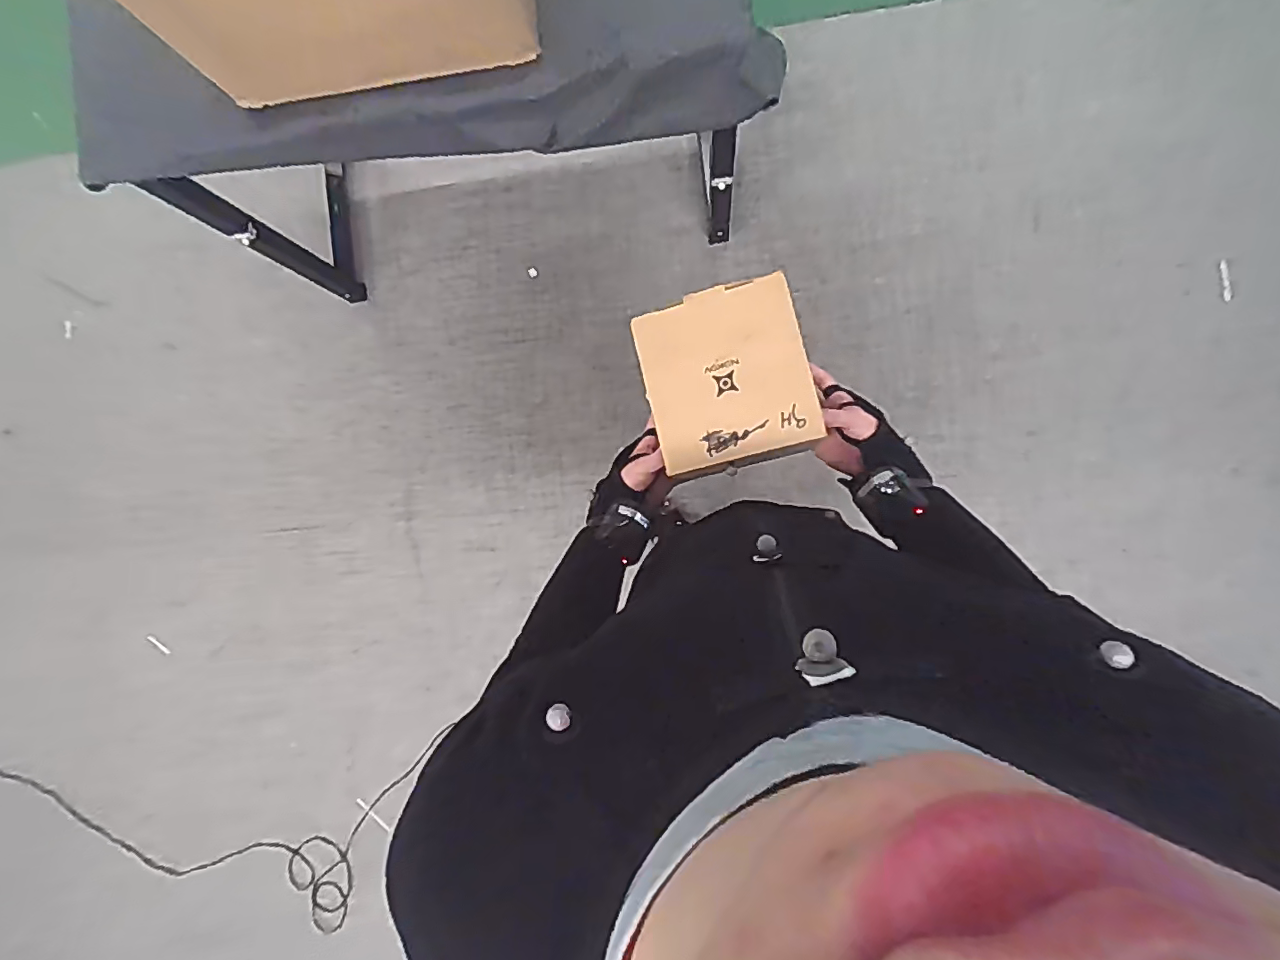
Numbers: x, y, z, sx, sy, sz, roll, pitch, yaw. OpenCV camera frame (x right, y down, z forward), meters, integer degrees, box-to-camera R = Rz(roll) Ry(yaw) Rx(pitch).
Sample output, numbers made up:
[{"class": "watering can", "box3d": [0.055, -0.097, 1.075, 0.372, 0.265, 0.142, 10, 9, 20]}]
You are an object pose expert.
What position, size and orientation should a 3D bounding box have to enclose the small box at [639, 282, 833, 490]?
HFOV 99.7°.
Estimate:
[{"class": "small box", "box3d": [0.111, -0.093, 0.631, 0.168, 0.176, 0.179, -16, 83, 12]}]
